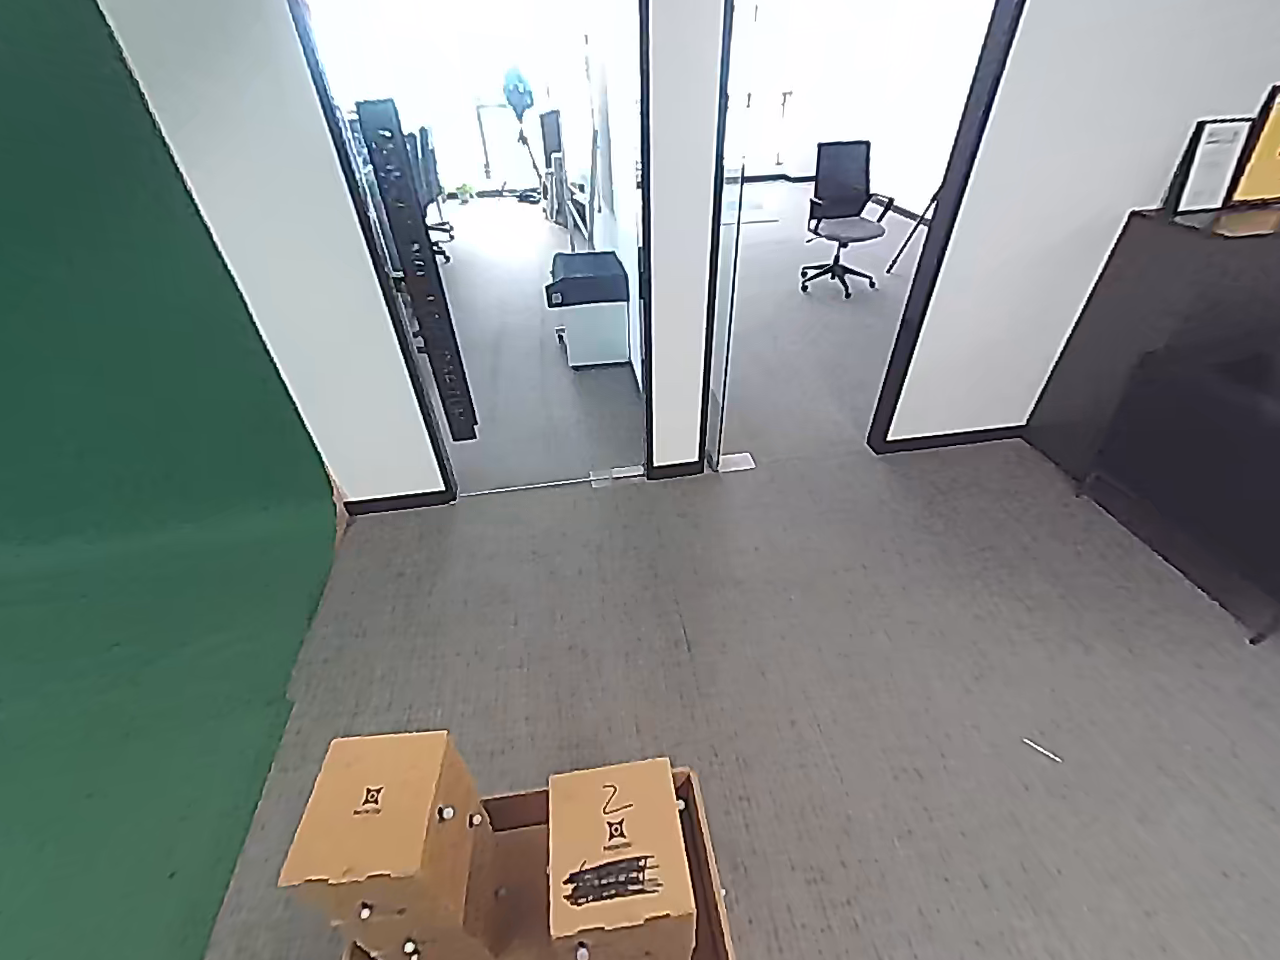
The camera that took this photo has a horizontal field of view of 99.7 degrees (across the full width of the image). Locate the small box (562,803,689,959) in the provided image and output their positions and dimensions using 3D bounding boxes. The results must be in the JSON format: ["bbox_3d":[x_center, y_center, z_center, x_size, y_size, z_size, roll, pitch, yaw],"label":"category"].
[{"bbox_3d":[-0.028,0.627,0.817,0.168,0.176,0.179,-7,39,-7],"label":"small box"}]

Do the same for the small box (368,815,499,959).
[{"bbox_3d":[-0.351,0.730,0.958,0.168,0.176,0.179,-4,38,-4],"label":"small box"}]

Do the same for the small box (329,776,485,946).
[{"bbox_3d":[-0.351,0.601,0.857,0.168,0.176,0.179,-4,39,-2],"label":"small box"}]

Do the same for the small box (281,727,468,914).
[{"bbox_3d":[-0.350,0.474,0.757,0.168,0.176,0.179,-2,39,-2],"label":"small box"}]
